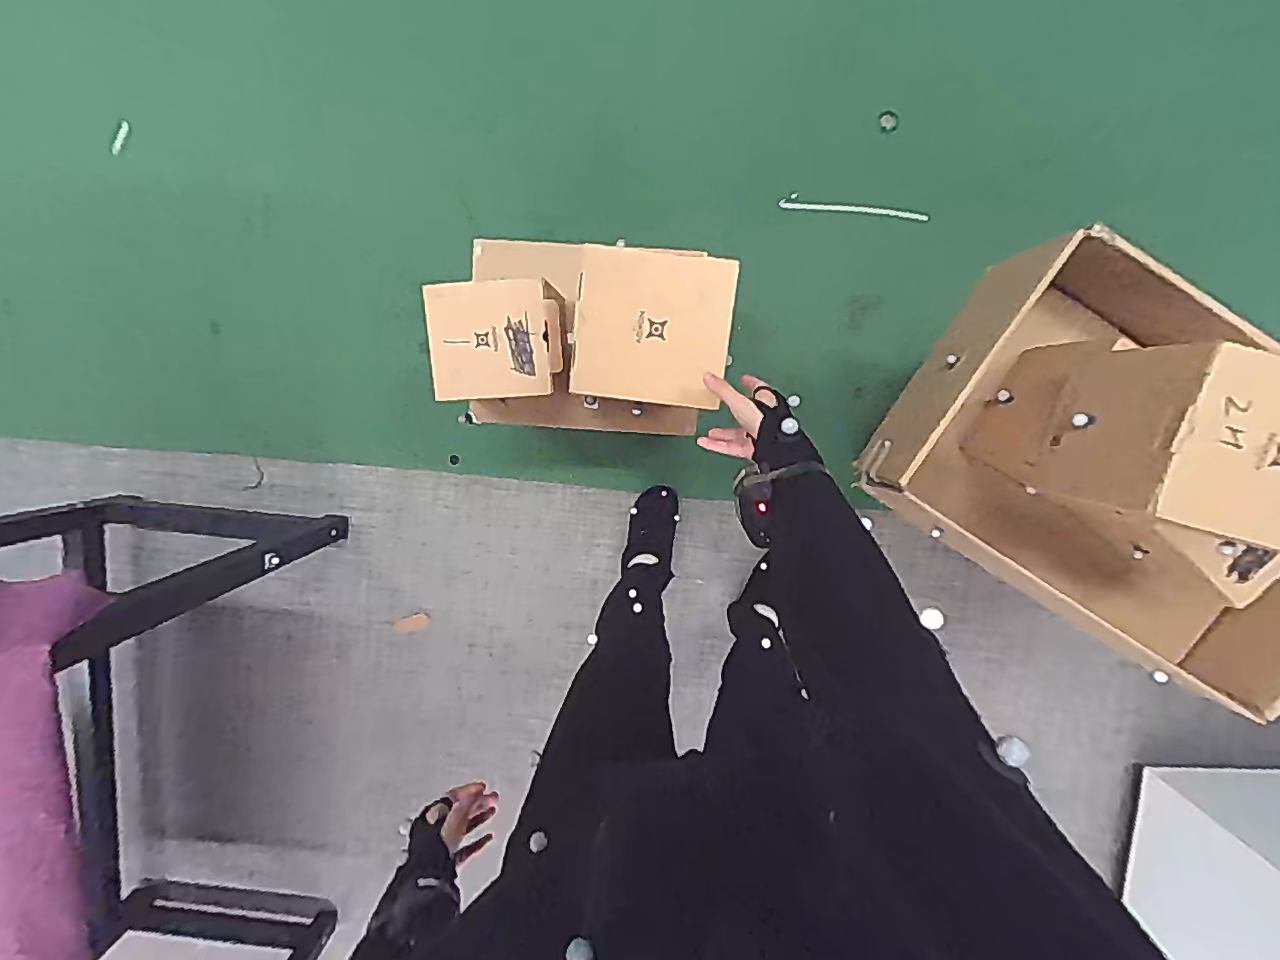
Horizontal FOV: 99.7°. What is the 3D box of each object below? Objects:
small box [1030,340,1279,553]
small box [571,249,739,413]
[{"bbox_3d":[0.573,-0.036,0.569,0.179,0.176,0.168,16,98,0],"label":"small box"},{"bbox_3d":[0.019,-0.181,0.688,0.179,0.176,0.168,7,100,3],"label":"small box"}]
